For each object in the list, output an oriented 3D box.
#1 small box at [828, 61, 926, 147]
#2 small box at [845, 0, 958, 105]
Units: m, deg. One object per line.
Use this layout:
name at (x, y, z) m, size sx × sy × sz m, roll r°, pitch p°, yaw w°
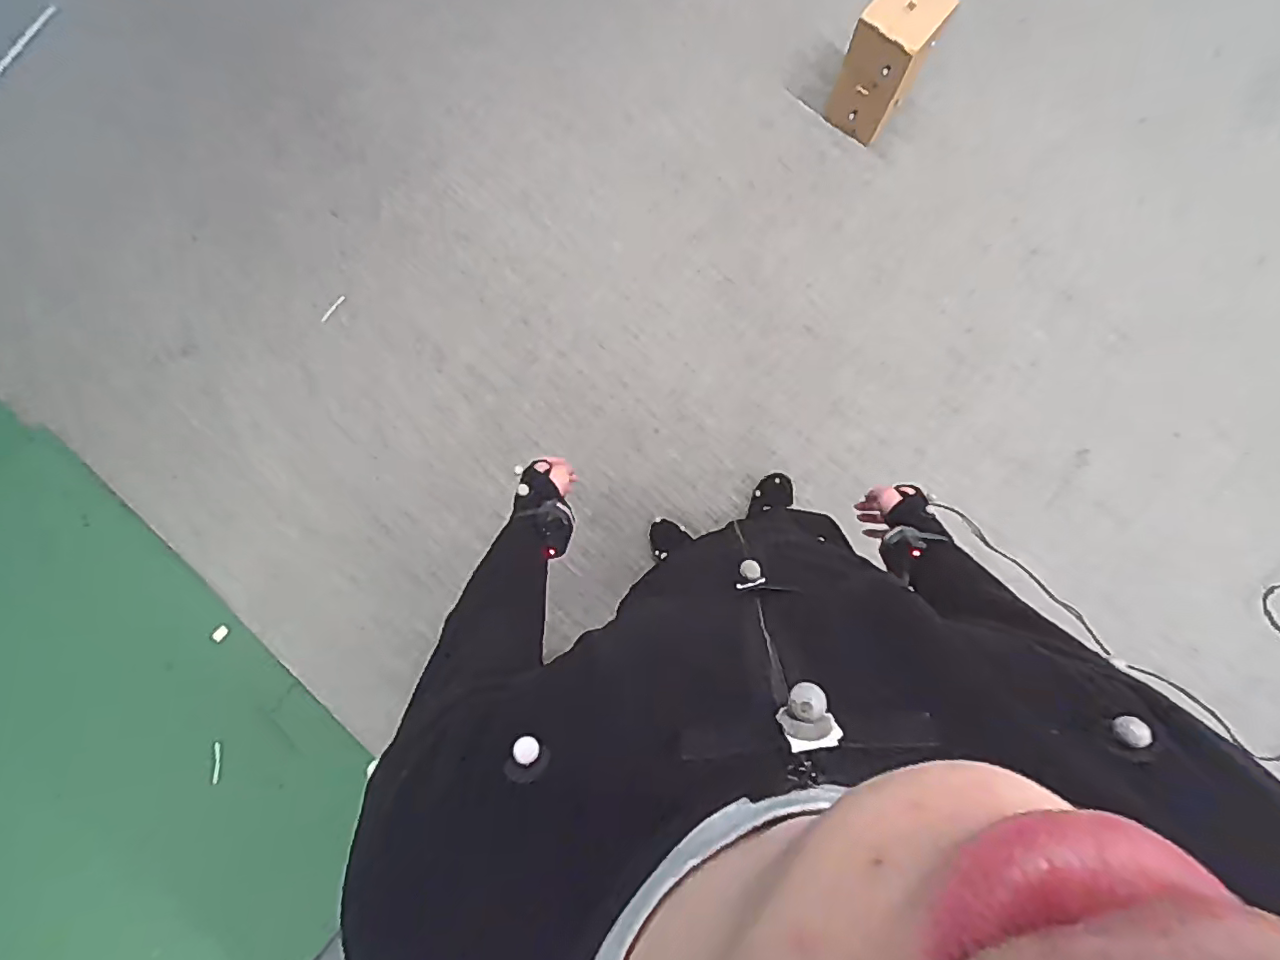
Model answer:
small box at (0.654, -1.094, 1.526) m, size 0.168 × 0.176 × 0.179 m, roll 39°, pitch 89°, yaw 6°
small box at (0.644, -1.107, 1.364) m, size 0.168 × 0.176 × 0.179 m, roll 39°, pitch 88°, yaw 5°
